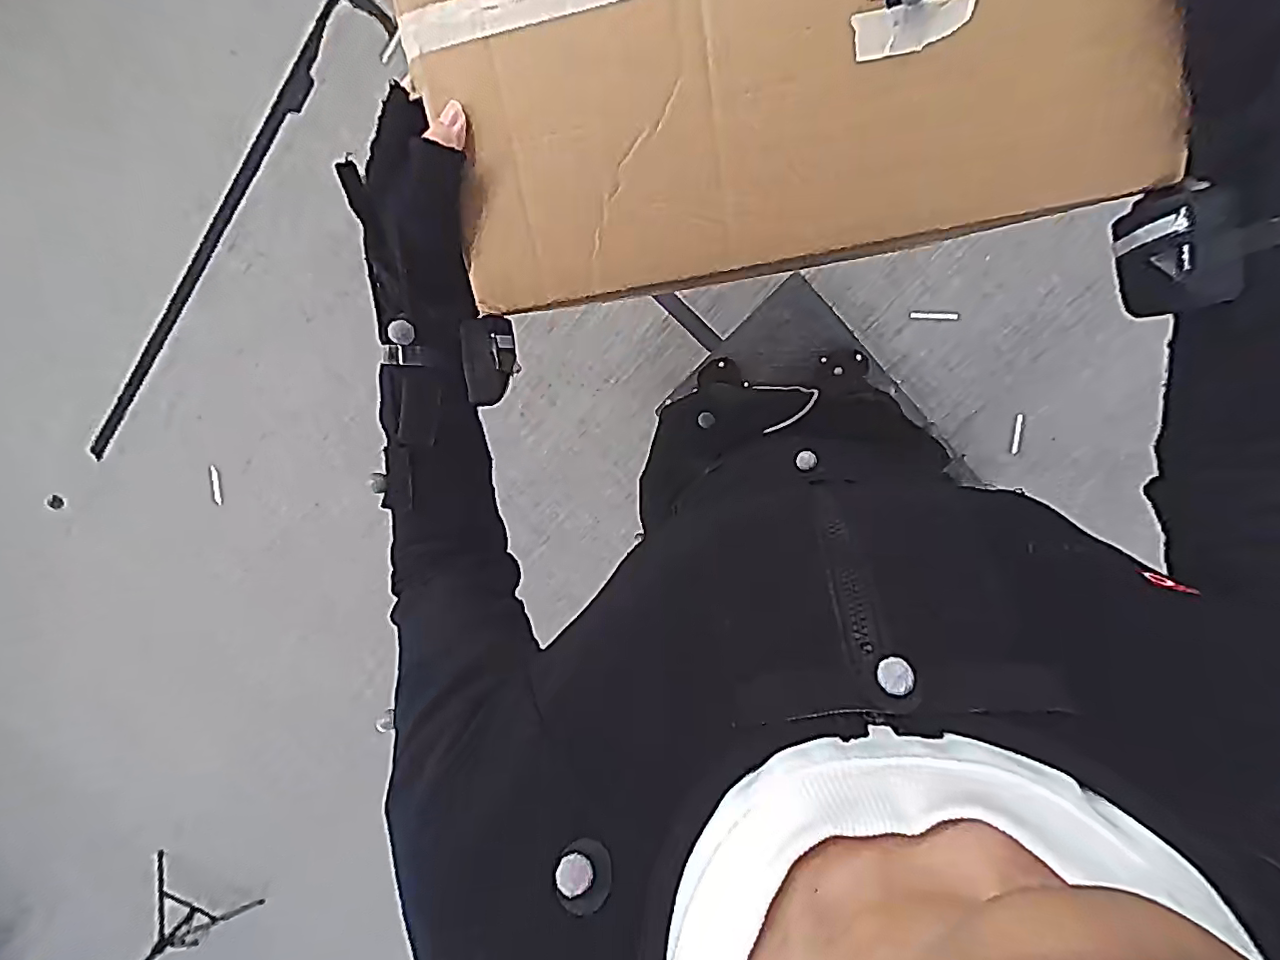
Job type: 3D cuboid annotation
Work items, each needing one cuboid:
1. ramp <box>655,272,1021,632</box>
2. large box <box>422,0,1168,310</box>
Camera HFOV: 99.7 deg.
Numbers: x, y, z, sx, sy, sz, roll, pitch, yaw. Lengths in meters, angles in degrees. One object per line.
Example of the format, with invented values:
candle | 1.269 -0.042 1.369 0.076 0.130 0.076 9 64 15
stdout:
ramp | 0.558 -0.021 1.473 0.991 0.206 0.509 43 104 -3
large box | 0.083 -0.333 0.434 0.408 0.320 0.320 -8 108 9
